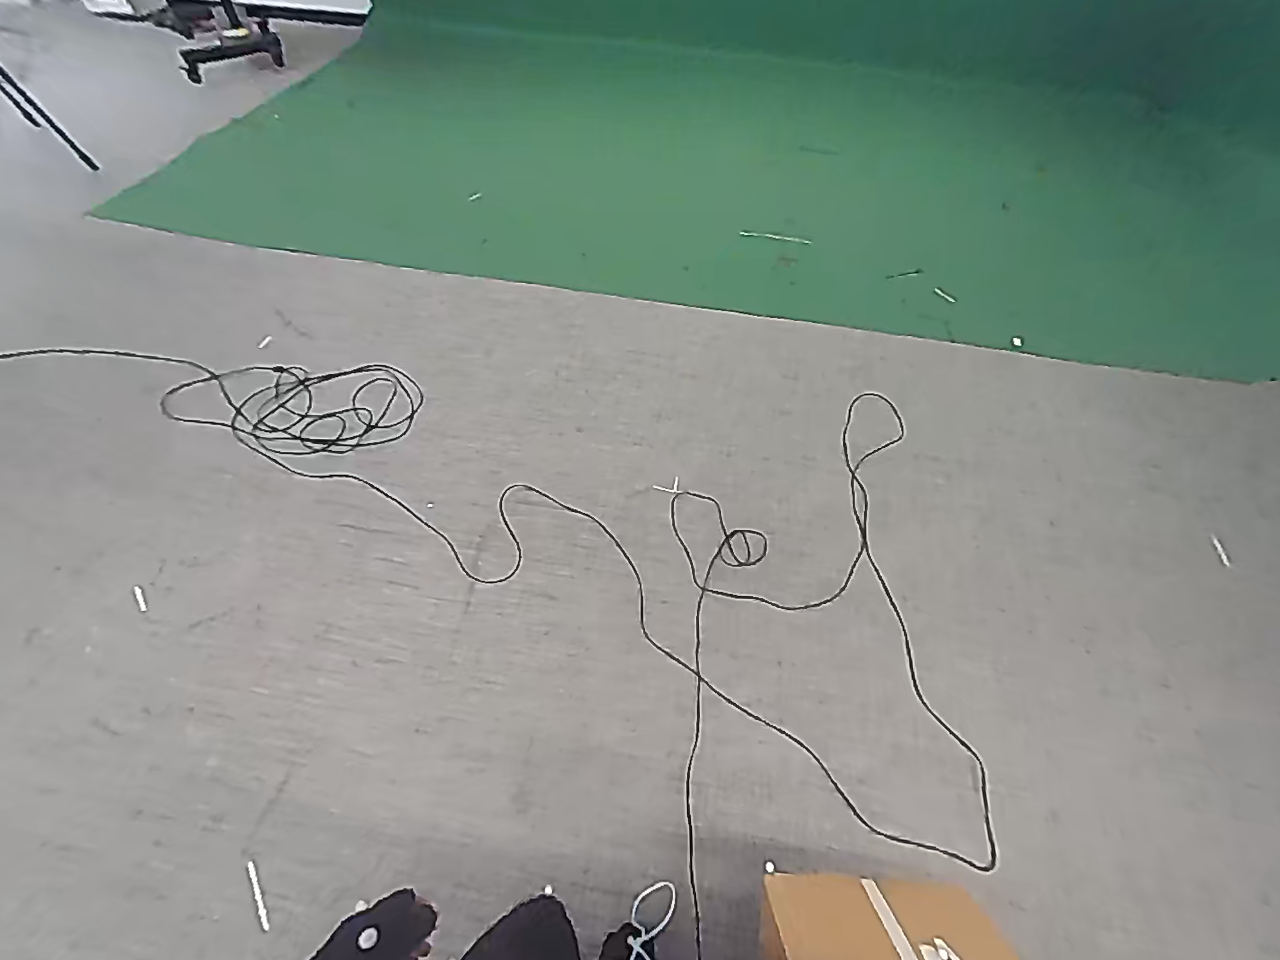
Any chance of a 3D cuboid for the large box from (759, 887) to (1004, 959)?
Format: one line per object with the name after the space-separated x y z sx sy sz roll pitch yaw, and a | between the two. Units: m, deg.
0.334 0.793 0.639 0.320 0.408 0.320 5 92 0 | large box
